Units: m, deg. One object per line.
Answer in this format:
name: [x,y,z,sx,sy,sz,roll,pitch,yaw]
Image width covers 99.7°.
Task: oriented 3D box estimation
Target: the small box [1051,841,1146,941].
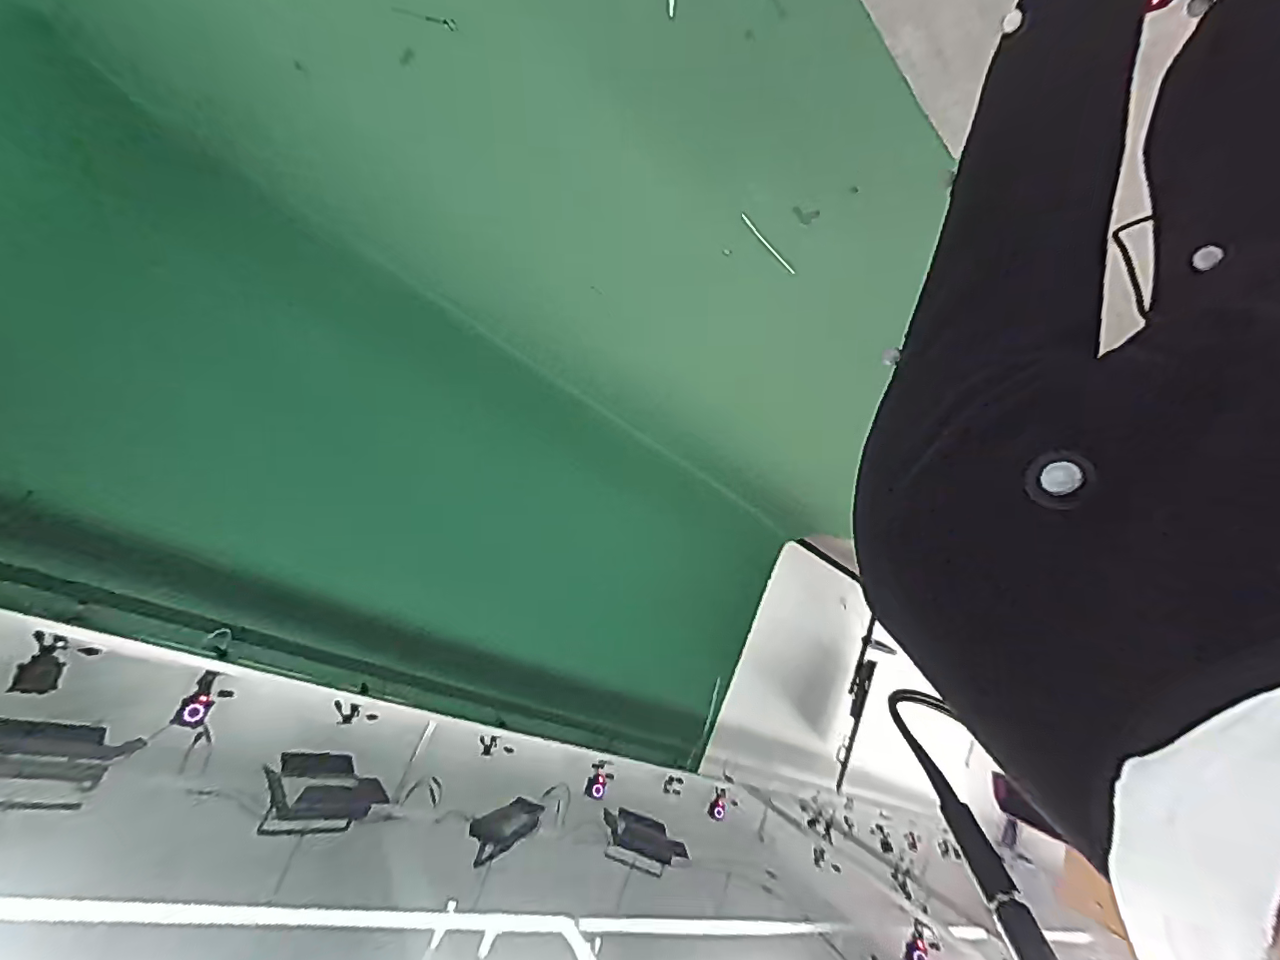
small box: [1.351,1.199,1.587,0.168,0.176,0.179,30,167,-31]
